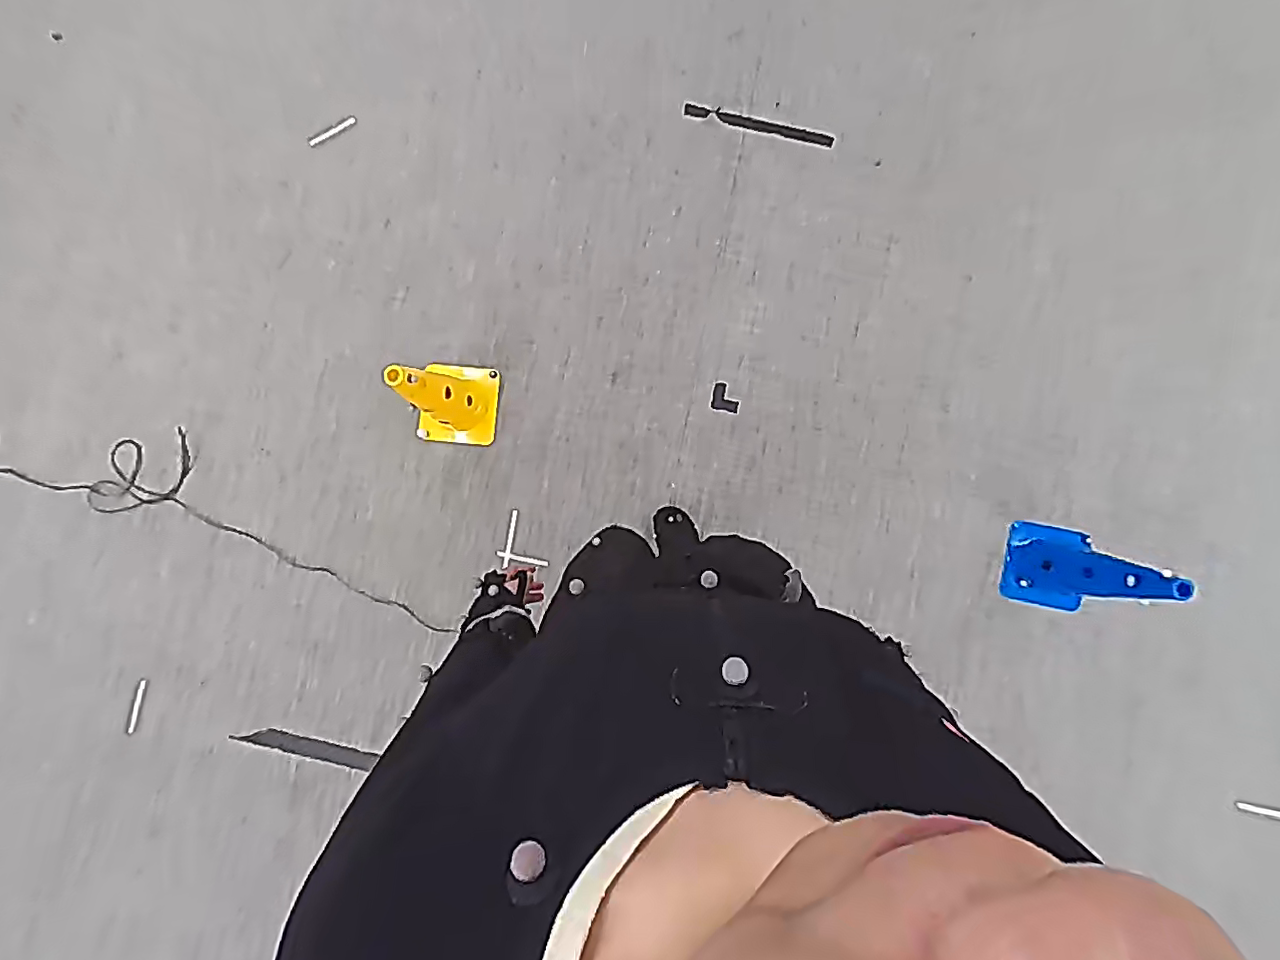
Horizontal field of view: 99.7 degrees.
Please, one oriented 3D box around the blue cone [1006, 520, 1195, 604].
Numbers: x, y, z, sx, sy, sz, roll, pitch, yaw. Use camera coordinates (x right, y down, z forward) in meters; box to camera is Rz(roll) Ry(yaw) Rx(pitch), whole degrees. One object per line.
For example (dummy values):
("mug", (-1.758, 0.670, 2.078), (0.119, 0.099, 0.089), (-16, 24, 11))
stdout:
("blue cone", (1.009, 0.197, 1.180), (0.193, 0.380, 0.192), (13, 87, 2))
